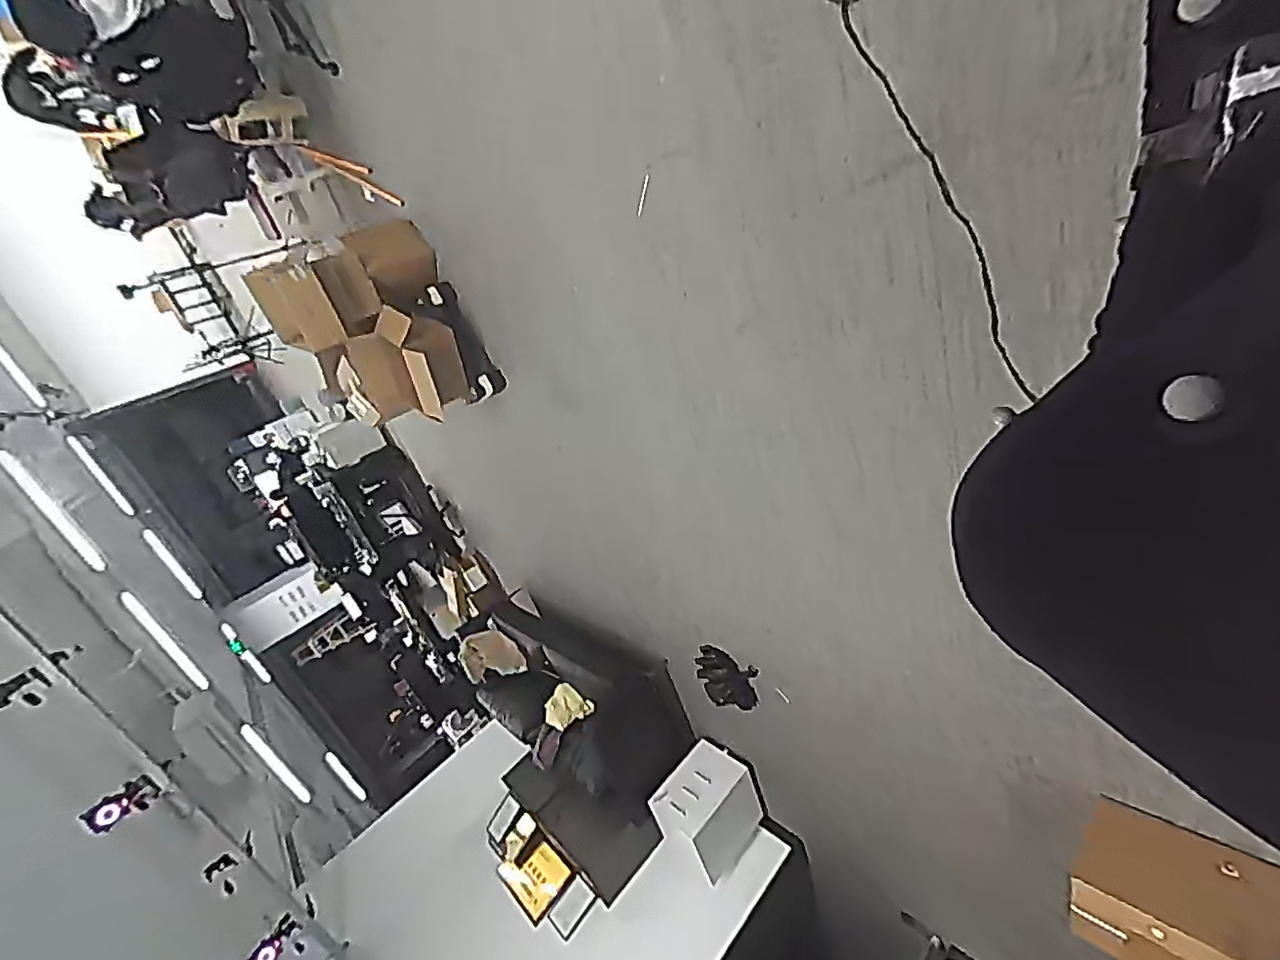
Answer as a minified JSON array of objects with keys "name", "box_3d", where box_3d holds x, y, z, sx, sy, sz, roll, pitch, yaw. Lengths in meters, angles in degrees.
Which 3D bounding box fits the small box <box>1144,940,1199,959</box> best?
[{"name":"small box","box_3d":[1.426,1.361,1.407,0.179,0.176,0.168,6,119,52]}]
